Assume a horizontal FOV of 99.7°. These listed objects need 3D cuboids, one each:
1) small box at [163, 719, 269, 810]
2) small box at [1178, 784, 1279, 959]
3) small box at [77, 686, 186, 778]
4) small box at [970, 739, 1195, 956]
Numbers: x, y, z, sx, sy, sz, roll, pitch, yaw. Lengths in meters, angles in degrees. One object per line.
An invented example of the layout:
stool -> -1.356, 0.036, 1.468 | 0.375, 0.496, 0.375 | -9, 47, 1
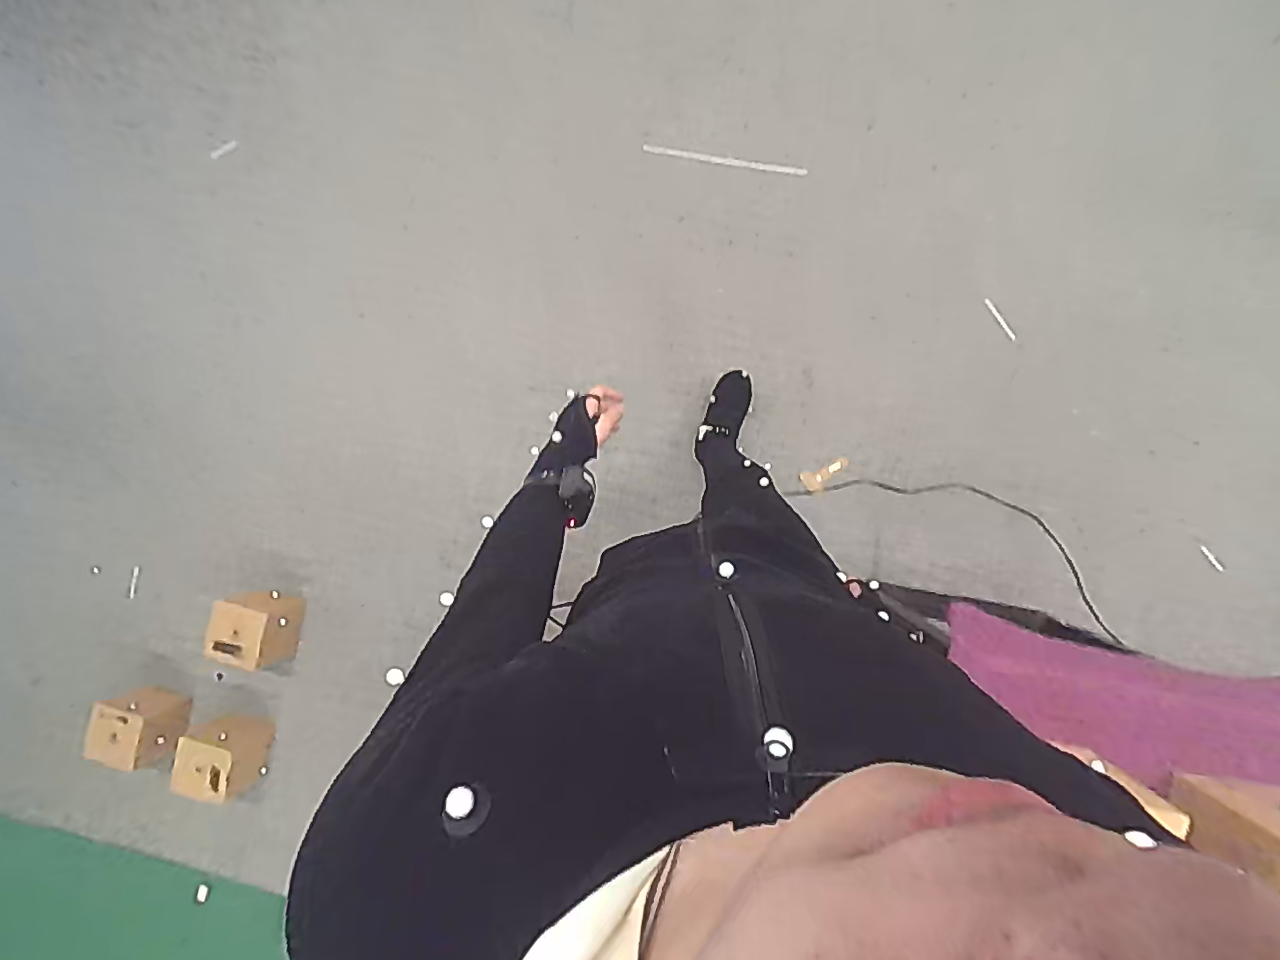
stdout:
small box -> -1.271, 0.849, 1.632 | 0.179, 0.176, 0.168 | 14, 92, 5
small box -> 0.885, 0.553, 0.738 | 0.168, 0.176, 0.179 | 8, 92, 5
small box -> -1.546, 0.763, 1.653 | 0.168, 0.176, 0.179 | 15, 93, 4
small box -> 0.601, 0.497, 0.760 | 0.168, 0.176, 0.179 | 12, 92, 3
